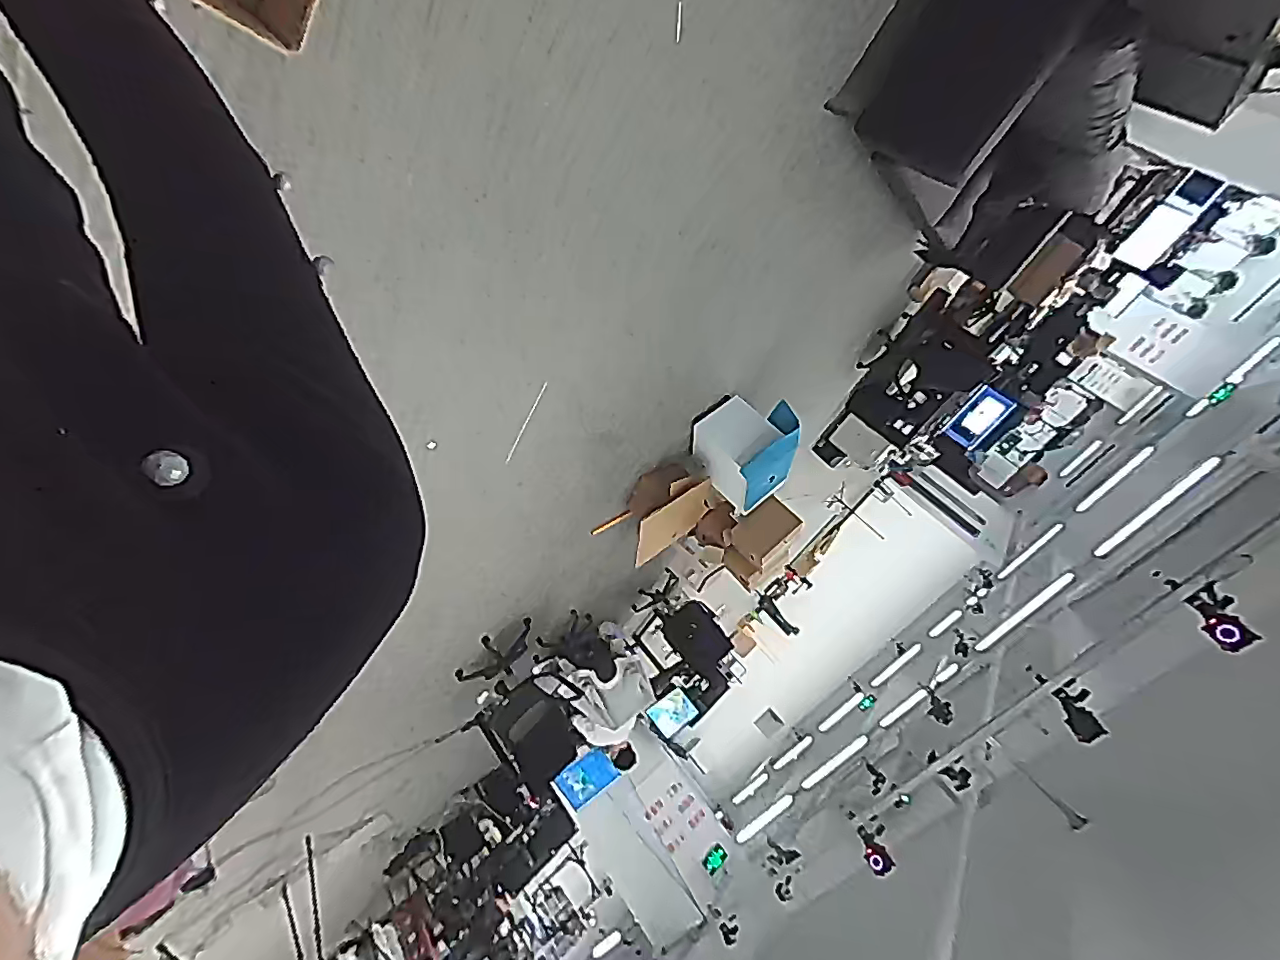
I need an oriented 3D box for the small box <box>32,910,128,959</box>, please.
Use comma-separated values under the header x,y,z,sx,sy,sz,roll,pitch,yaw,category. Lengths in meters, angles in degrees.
x,y,z,sx,sy,sz,roll,pitch,yaw,category
-1.563,1.360,1.513,0.168,0.176,0.179,-12,141,-50,small box
